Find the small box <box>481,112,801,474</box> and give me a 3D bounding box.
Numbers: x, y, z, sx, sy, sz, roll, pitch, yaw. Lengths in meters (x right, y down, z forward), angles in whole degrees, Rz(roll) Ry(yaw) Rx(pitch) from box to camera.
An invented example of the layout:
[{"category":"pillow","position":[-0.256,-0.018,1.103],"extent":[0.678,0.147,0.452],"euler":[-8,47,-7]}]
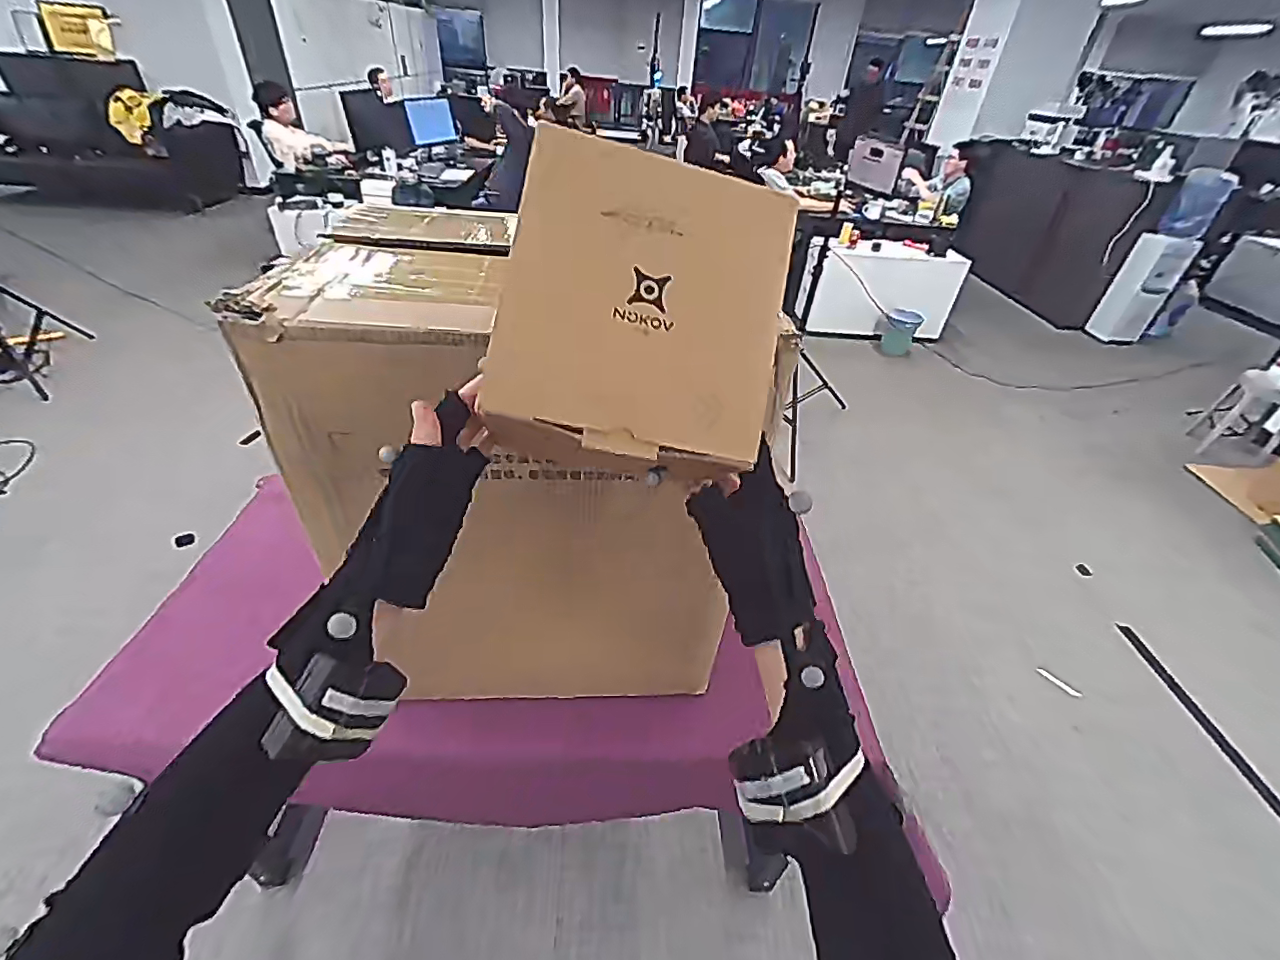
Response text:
[{"category":"small box","position":[-0.008,-0.105,0.390],"extent":[0.168,0.179,0.176],"euler":[11,-7,-10]}]
